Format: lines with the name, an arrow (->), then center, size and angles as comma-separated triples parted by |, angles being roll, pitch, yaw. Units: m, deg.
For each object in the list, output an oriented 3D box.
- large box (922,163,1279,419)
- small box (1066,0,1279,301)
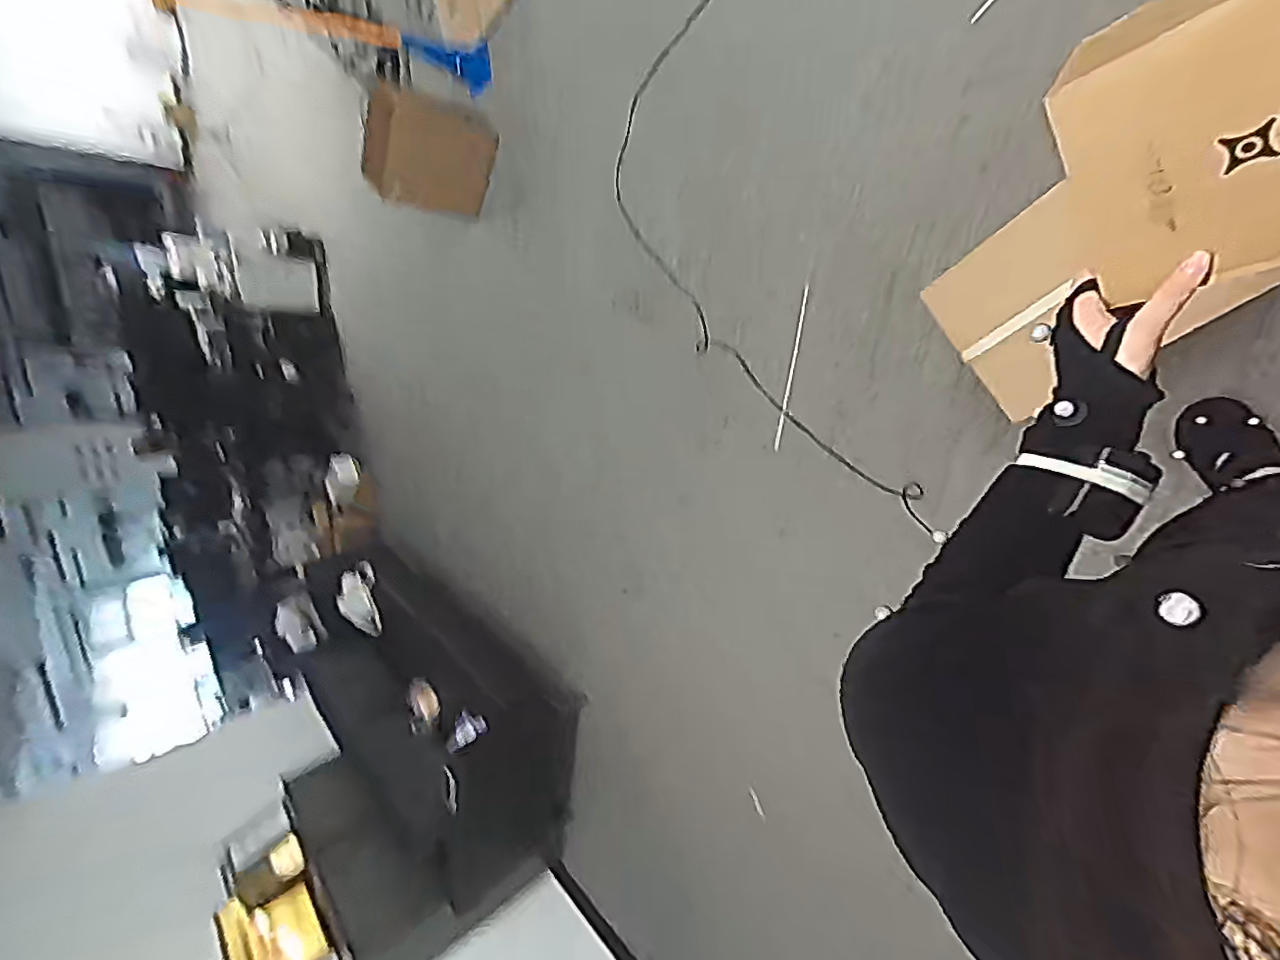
large box -> 0.833, -0.356, 0.997 | 0.408, 0.320, 0.320 | -41, 70, 42
small box -> 0.421, -0.256, 0.360 | 0.179, 0.176, 0.168 | -6, 126, 51
